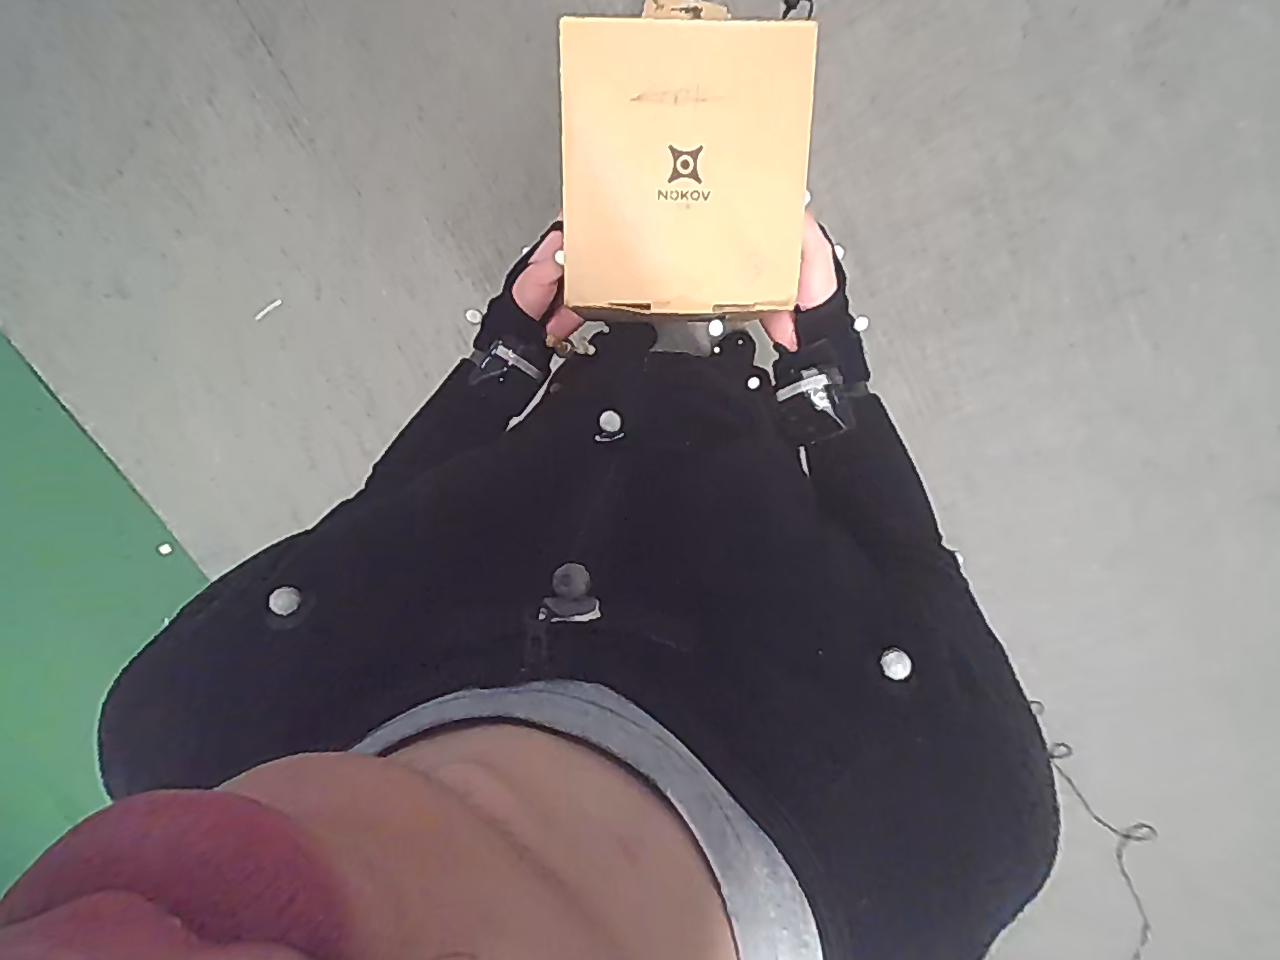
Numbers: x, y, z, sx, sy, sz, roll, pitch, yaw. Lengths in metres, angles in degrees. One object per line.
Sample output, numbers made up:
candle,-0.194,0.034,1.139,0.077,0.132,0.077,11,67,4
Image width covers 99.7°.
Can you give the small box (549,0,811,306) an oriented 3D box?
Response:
small box,0.021,-0.235,0.431,0.168,0.176,0.179,0,104,-3
